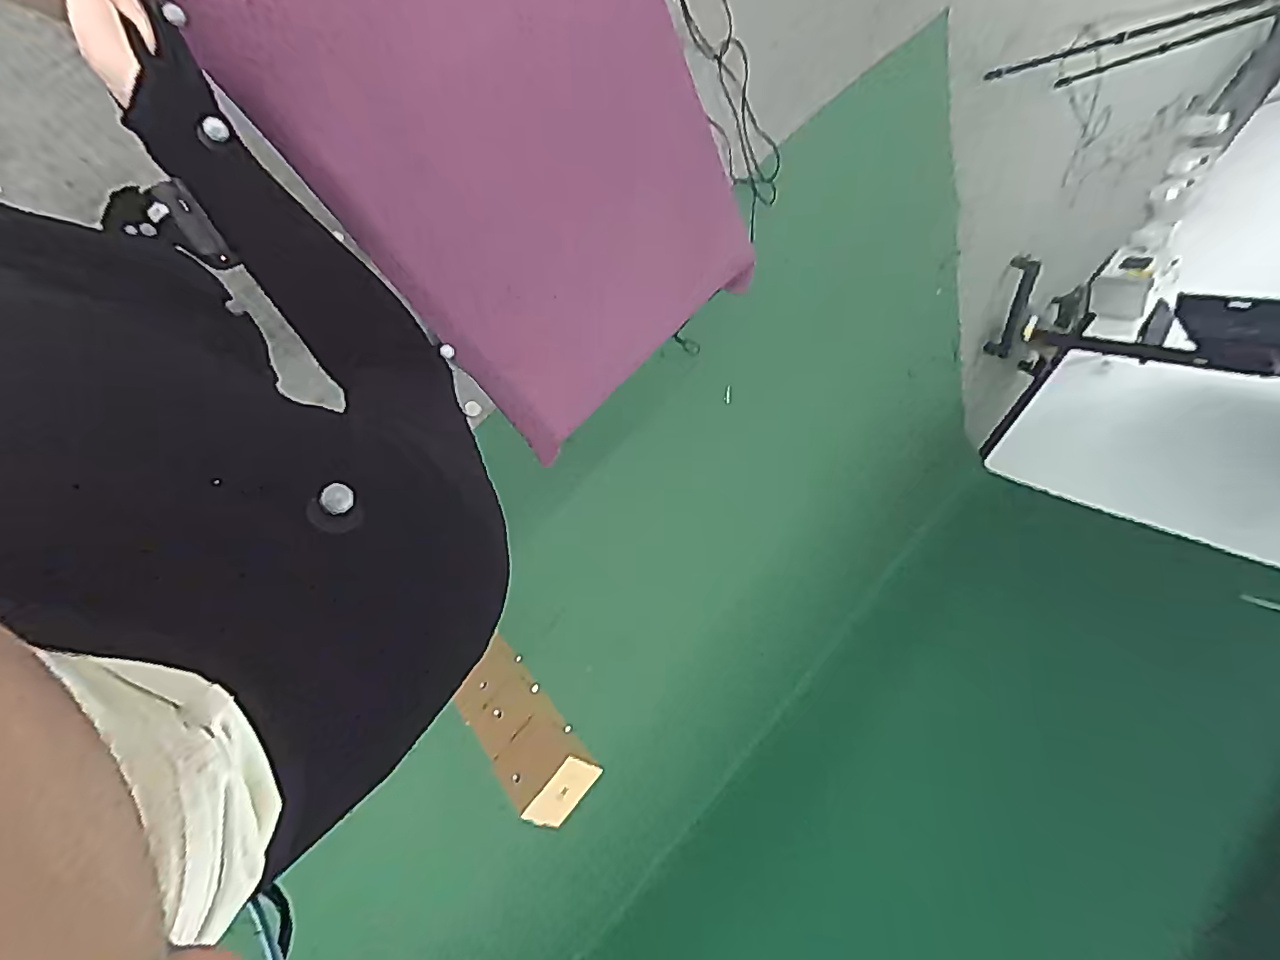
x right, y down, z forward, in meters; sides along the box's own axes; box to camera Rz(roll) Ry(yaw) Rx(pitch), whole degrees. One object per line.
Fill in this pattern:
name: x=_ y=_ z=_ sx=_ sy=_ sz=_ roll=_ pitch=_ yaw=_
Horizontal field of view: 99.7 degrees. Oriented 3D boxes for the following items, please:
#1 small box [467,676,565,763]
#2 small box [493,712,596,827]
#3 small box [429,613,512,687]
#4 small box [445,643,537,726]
small box: x=-0.348 y=0.675 z=1.500 sx=0.168 sy=0.176 sz=0.179 roll=-48 pitch=132 yaw=-11
small box: x=-0.251 y=0.737 z=1.383 sx=0.179 sy=0.176 sz=0.168 roll=-48 pitch=134 yaw=-12
small box: x=-0.550 y=0.564 z=1.732 sx=0.179 sy=0.176 sz=0.168 roll=-48 pitch=133 yaw=-11
small box: x=-0.450 y=0.622 z=1.616 sx=0.179 sy=0.176 sz=0.168 roll=-49 pitch=132 yaw=-9
